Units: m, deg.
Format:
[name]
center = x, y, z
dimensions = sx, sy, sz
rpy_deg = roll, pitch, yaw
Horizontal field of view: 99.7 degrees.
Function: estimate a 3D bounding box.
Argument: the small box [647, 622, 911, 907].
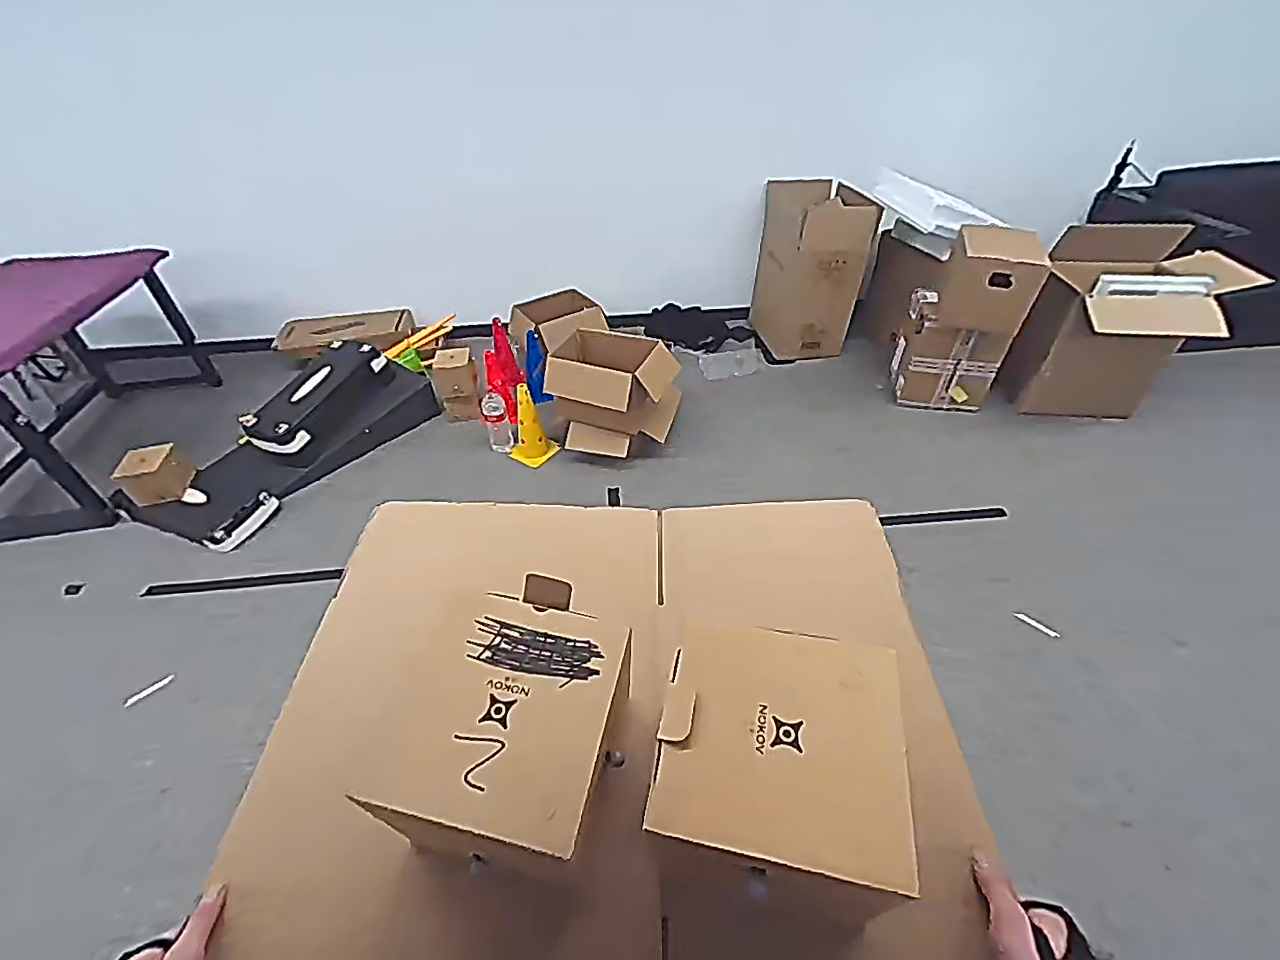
[small box]
center = 0.116, 0.248, 0.471
dimensions = 0.179, 0.176, 0.168
rpy_deg = 4, 48, 14
